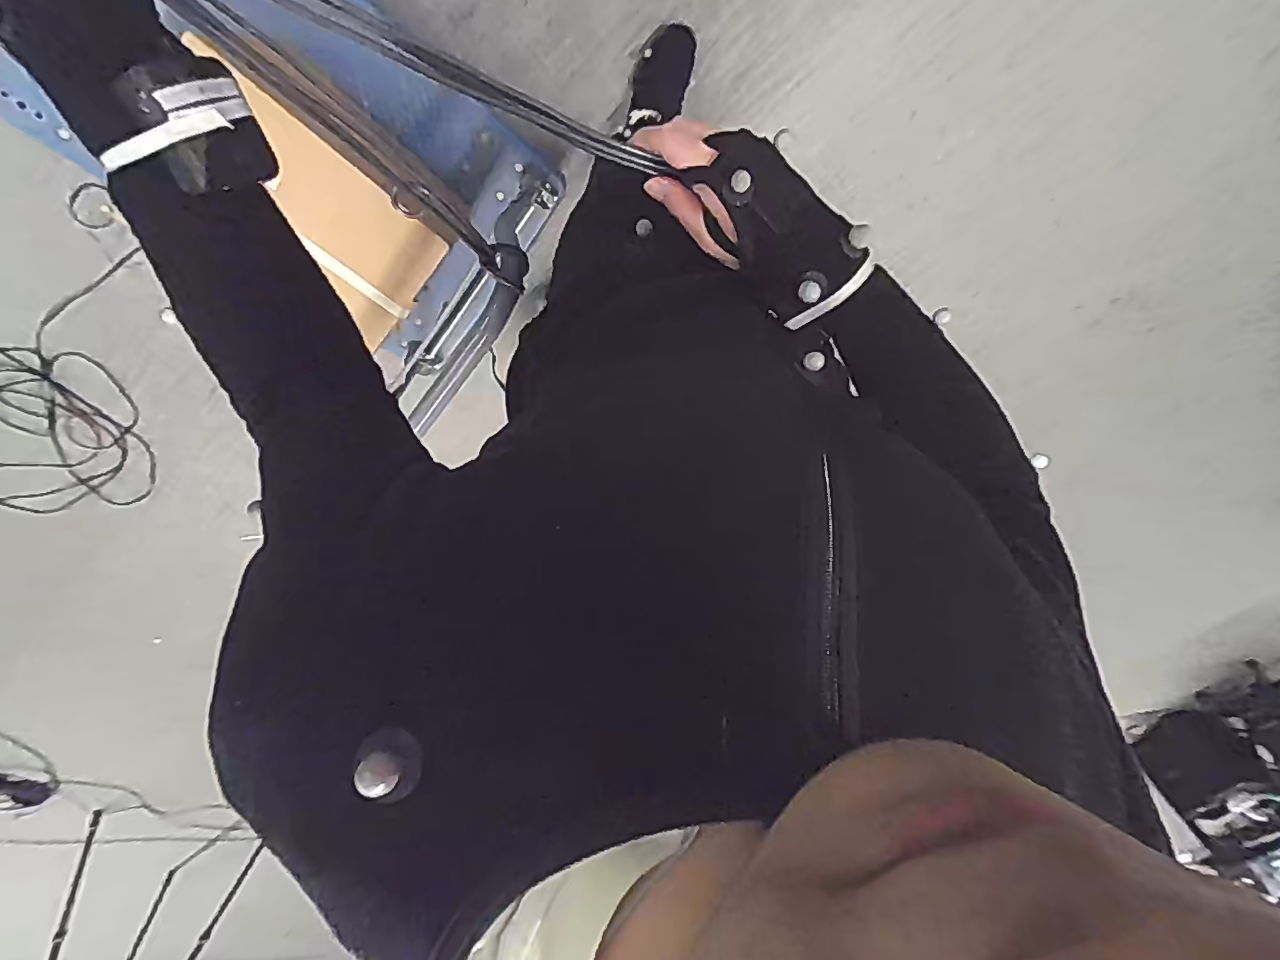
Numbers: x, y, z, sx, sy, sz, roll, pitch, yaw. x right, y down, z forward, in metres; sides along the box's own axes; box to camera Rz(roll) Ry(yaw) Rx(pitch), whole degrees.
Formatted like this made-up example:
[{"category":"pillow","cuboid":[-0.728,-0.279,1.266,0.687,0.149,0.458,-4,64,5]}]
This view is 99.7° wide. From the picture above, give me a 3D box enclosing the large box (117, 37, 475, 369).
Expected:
[{"category":"large box","cuboid":[-0.571,-0.486,0.980,0.408,0.320,0.320,35,115,-29]}]
